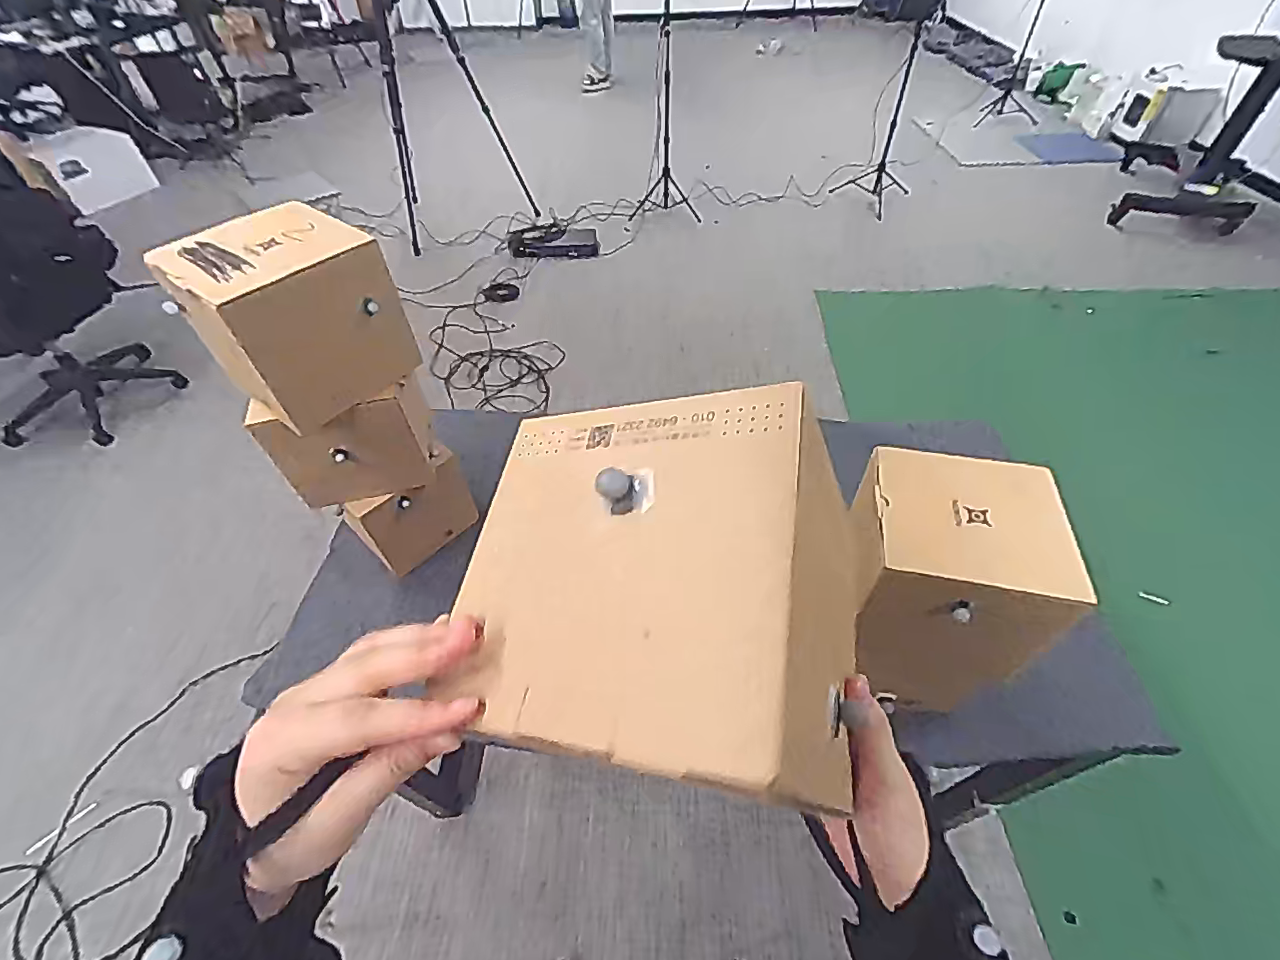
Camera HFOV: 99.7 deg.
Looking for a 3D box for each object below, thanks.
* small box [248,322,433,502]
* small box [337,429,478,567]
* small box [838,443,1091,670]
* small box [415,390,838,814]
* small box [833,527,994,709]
[{"bbox_3d":[-0.402,-0.093,0.763,0.179,0.176,0.168,-14,51,-9],"label":"small box"},{"bbox_3d":[-0.397,0.010,0.891,0.179,0.176,0.168,34,59,27],"label":"small box"},{"bbox_3d":[0.323,0.085,0.584,0.179,0.176,0.168,9,49,11],"label":"small box"},{"bbox_3d":[0.019,0.073,0.310,0.168,0.179,0.176,-5,55,25],"label":"small box"},{"bbox_3d":[0.329,0.182,0.715,0.168,0.176,0.179,1,49,4],"label":"small box"}]
